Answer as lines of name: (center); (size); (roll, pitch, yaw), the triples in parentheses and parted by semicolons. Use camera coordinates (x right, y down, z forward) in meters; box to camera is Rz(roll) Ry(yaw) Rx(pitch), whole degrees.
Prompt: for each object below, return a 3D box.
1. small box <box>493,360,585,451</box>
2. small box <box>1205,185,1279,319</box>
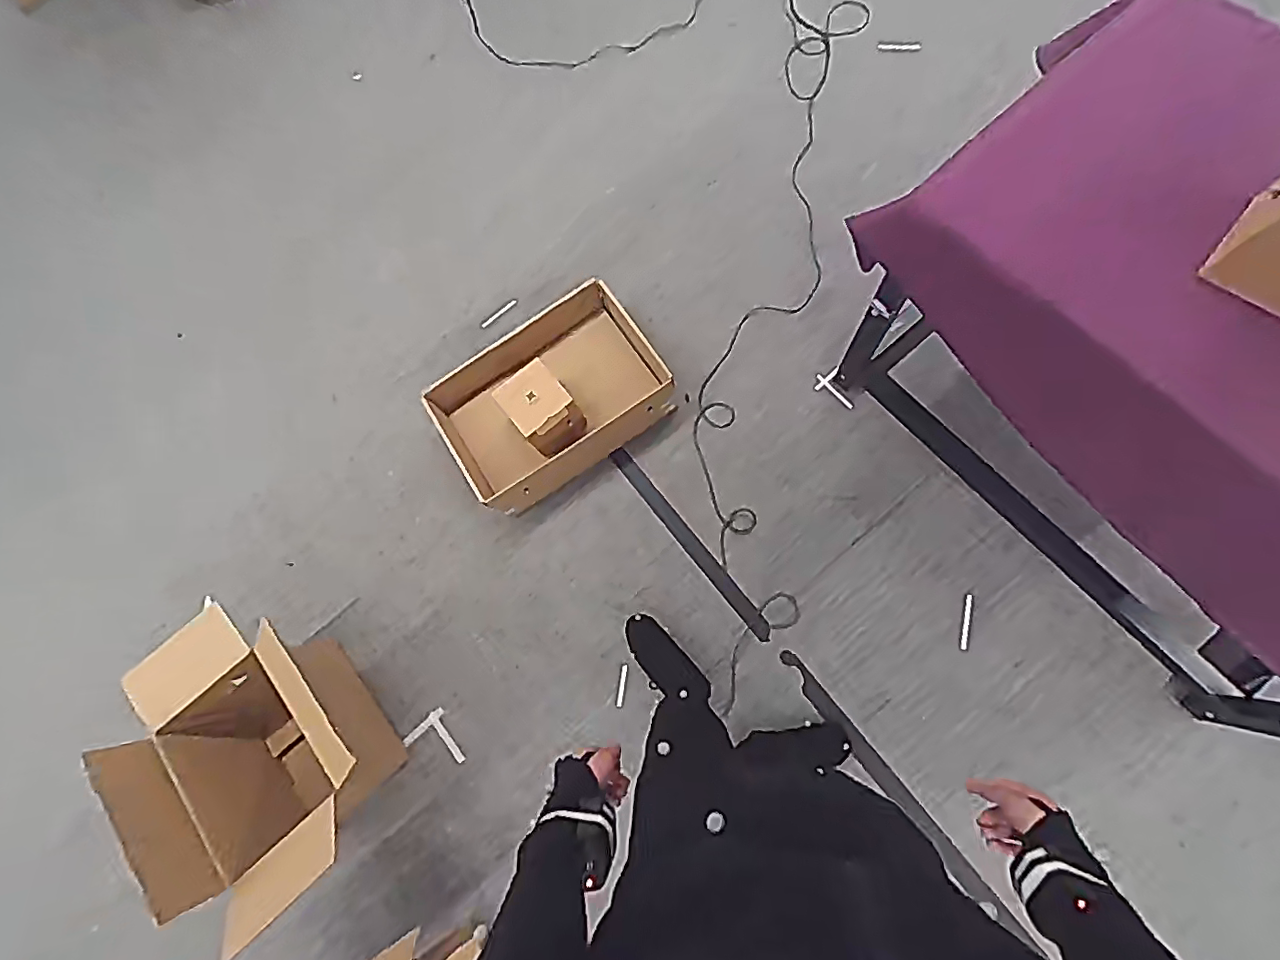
small box: (-0.278, -0.200, 1.532); (0.168, 0.176, 0.179); (-39, 74, -4)
small box: (0.912, -0.322, 0.692); (0.179, 0.176, 0.168); (40, 85, 14)
